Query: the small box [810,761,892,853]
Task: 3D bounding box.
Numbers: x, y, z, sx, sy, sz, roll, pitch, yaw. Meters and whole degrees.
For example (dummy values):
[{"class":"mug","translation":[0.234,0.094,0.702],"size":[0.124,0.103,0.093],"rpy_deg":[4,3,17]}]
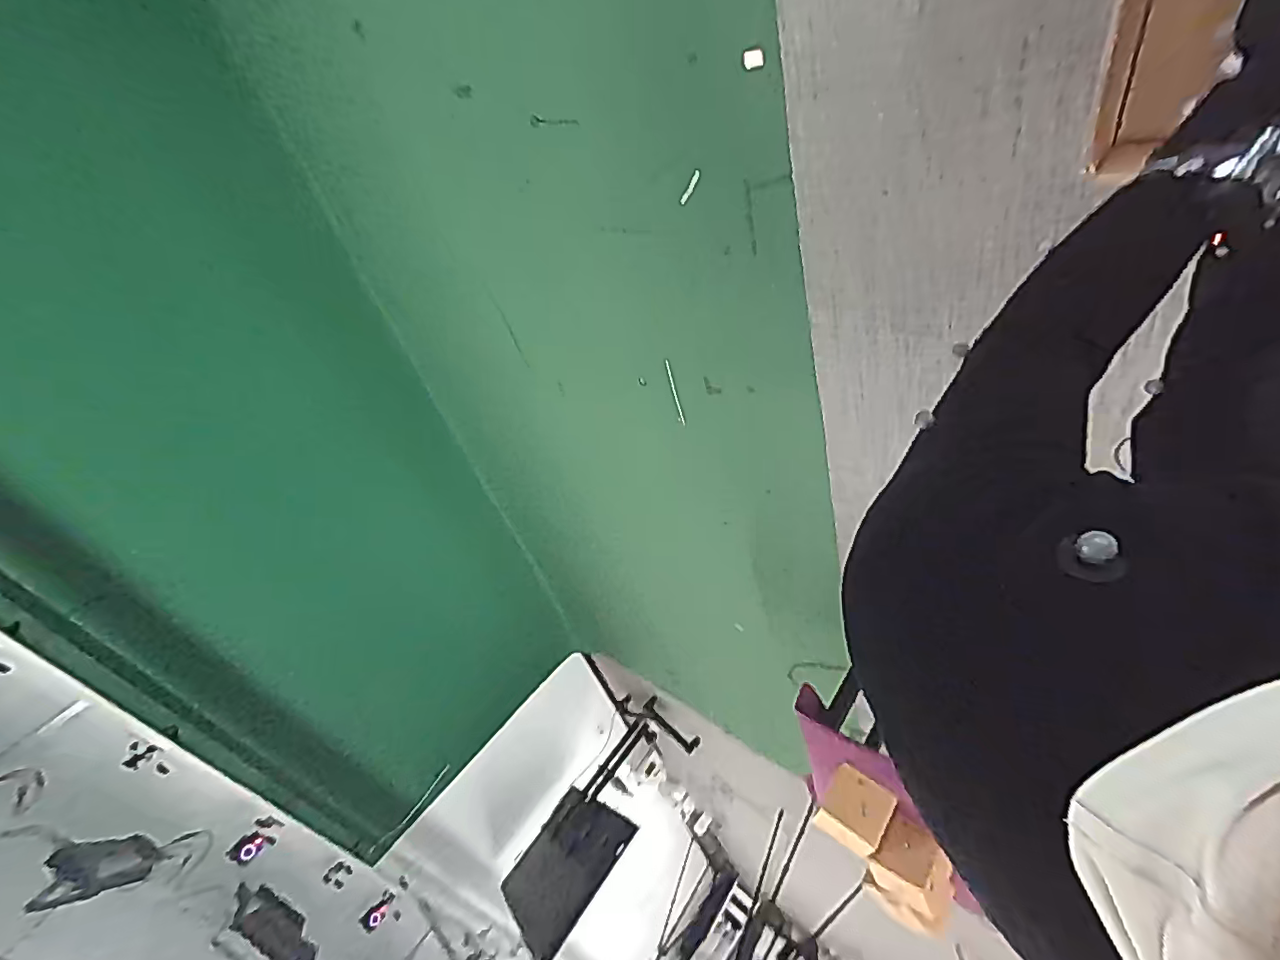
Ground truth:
[{"class":"small box","translation":[0.646,0.995,1.651],"size":[0.168,0.176,0.179],"rpy_deg":[28,148,25]}]
